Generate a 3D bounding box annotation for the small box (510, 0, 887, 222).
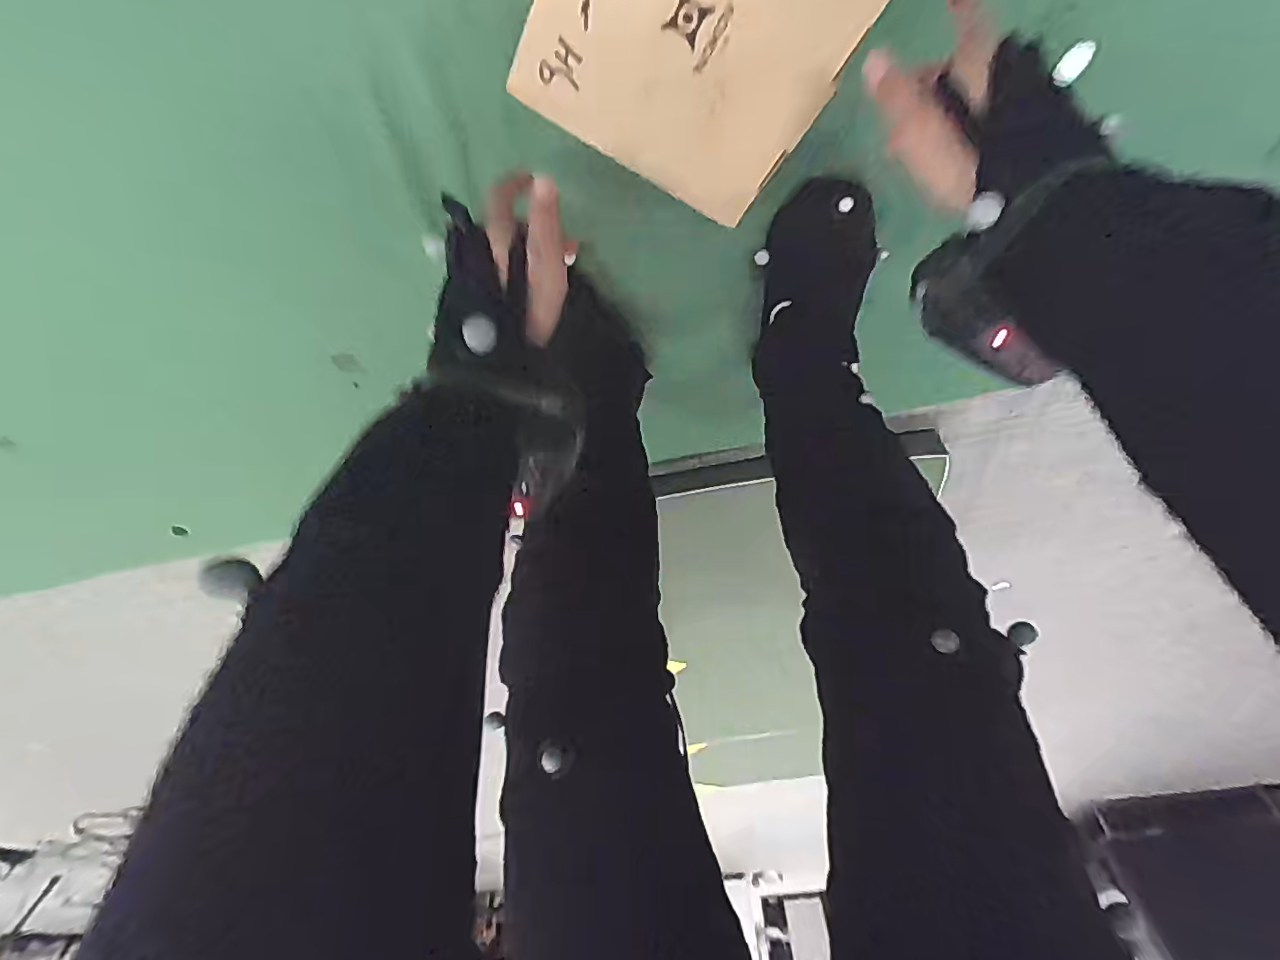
[{"bbox_3d":[0.029,-0.324,0.372,0.179,0.176,0.168,19,133,-24],"label":"small box"}]
